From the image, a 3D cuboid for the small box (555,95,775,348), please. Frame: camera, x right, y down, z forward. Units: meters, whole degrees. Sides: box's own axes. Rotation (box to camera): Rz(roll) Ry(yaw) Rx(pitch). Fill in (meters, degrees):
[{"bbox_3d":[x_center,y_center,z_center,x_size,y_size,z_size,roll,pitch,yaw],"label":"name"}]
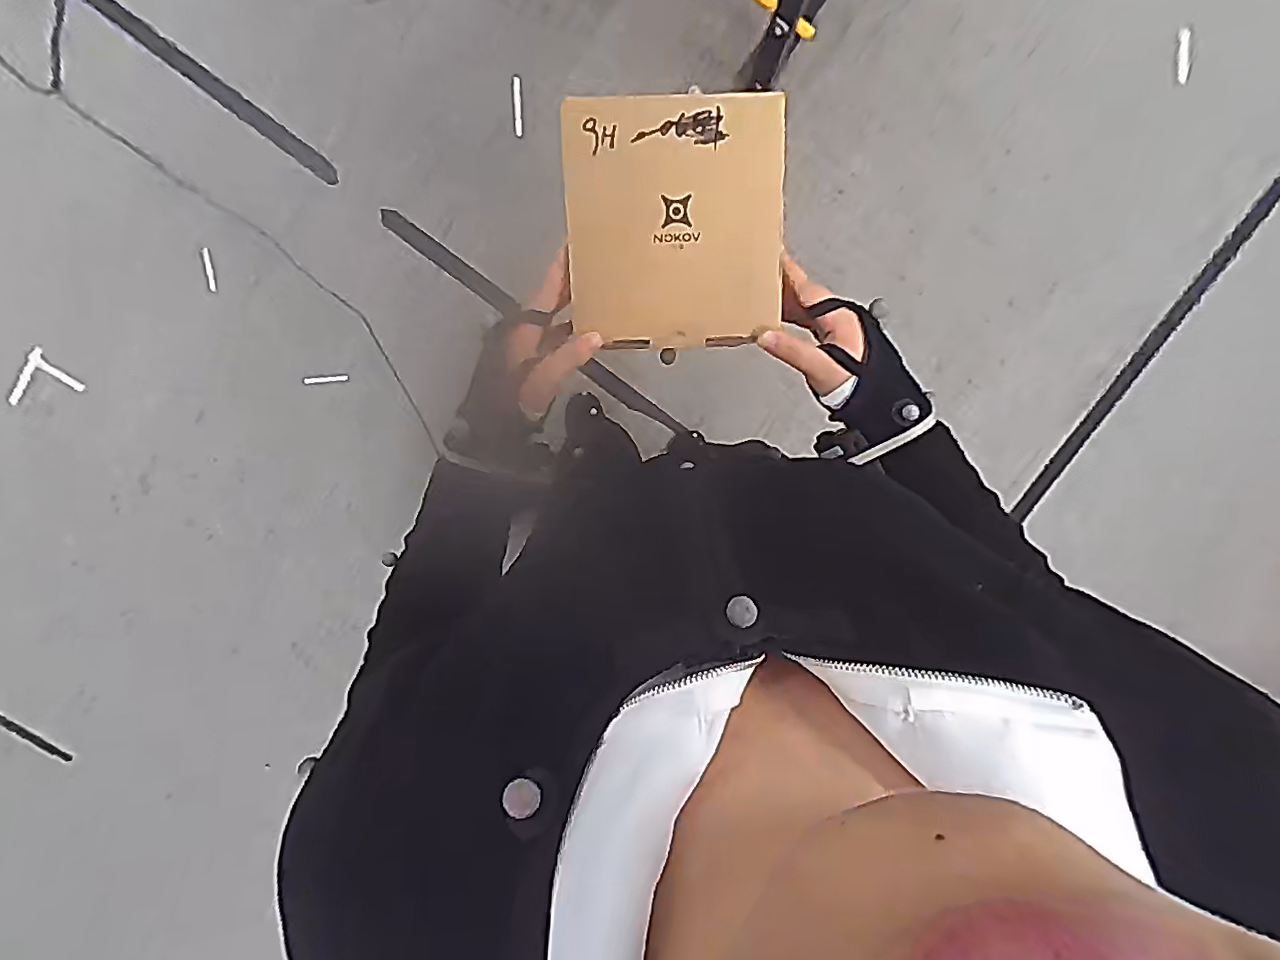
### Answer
[{"bbox_3d":[0.019,-0.216,0.495,0.168,0.176,0.179,-3,104,-1],"label":"small box"}]
